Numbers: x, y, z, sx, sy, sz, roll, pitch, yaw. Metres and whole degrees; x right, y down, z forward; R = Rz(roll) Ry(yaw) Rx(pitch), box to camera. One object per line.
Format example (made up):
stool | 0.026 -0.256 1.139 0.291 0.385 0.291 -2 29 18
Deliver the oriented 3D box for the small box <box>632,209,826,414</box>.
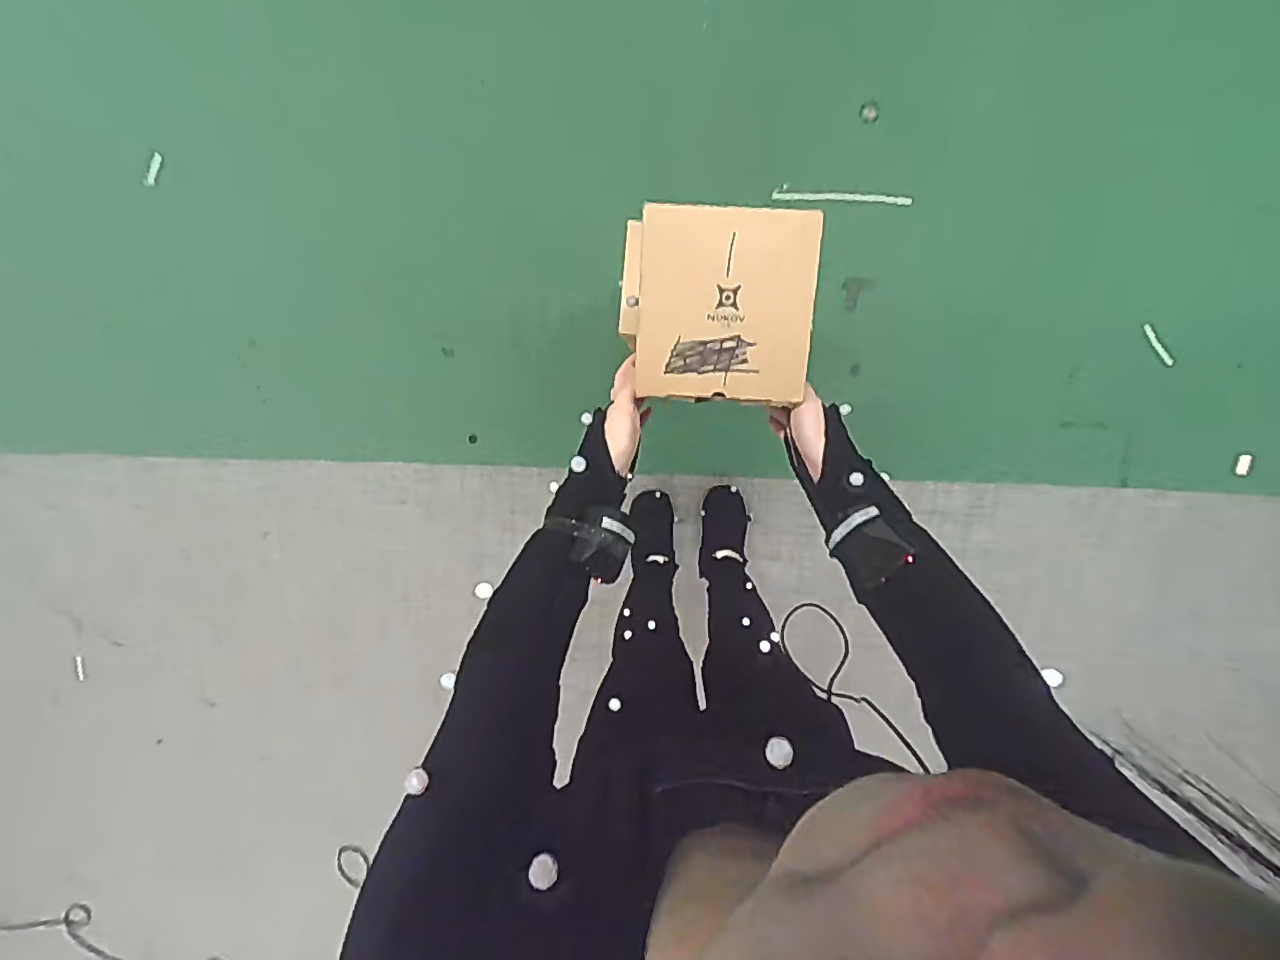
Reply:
small box | 0.082 -0.171 0.580 0.168 0.176 0.179 4 102 0

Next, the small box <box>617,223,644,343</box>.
small box | 0.062 -0.308 0.891 0.179 0.176 0.168 6 101 2
